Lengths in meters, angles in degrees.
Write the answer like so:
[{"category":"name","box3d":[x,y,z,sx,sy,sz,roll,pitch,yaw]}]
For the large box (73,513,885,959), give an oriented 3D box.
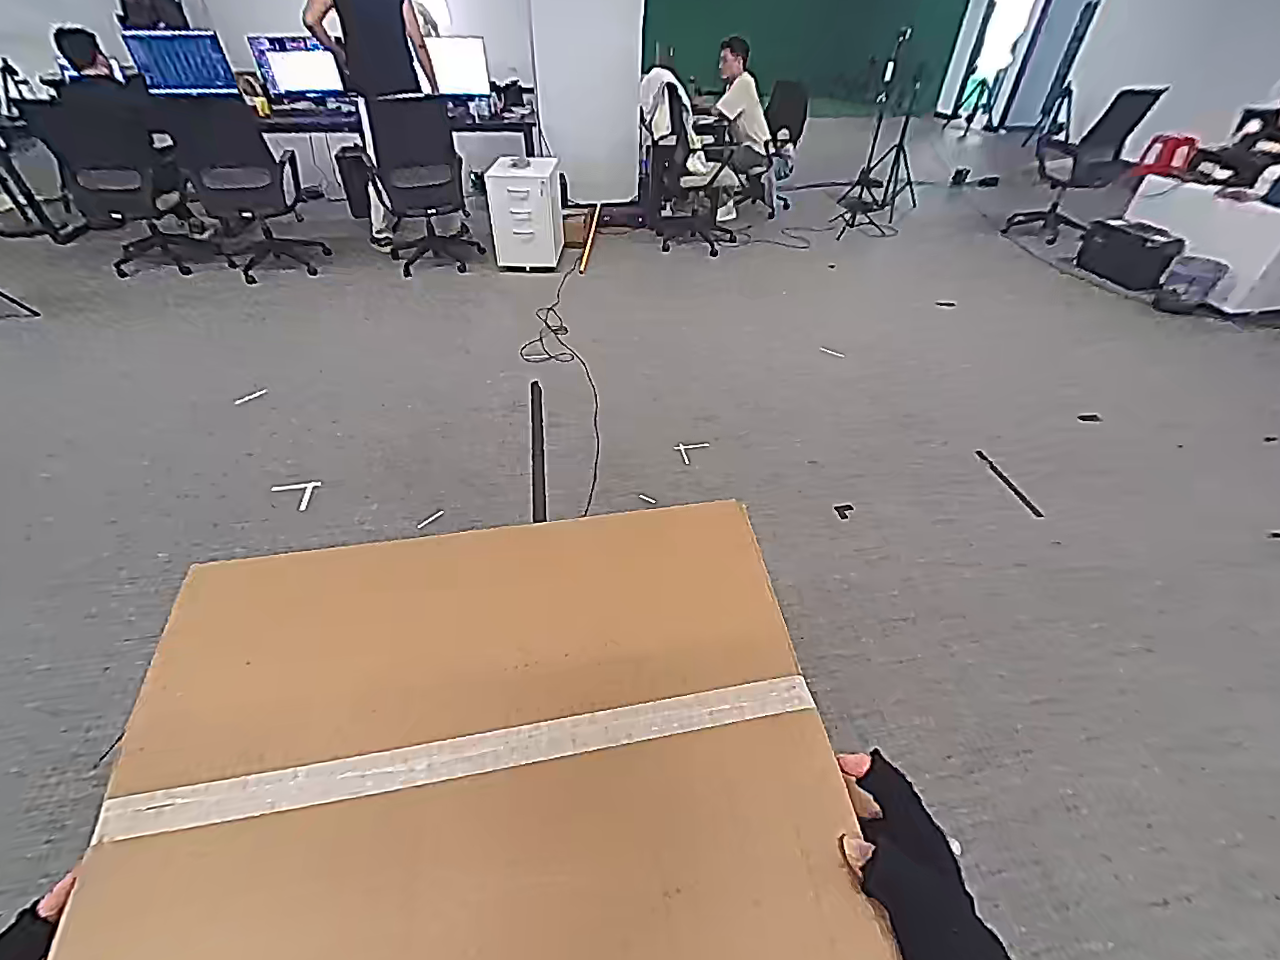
[{"category":"large box","box3d":[-0.096,0.260,0.445,0.408,0.320,0.320,-7,53,-8]}]
